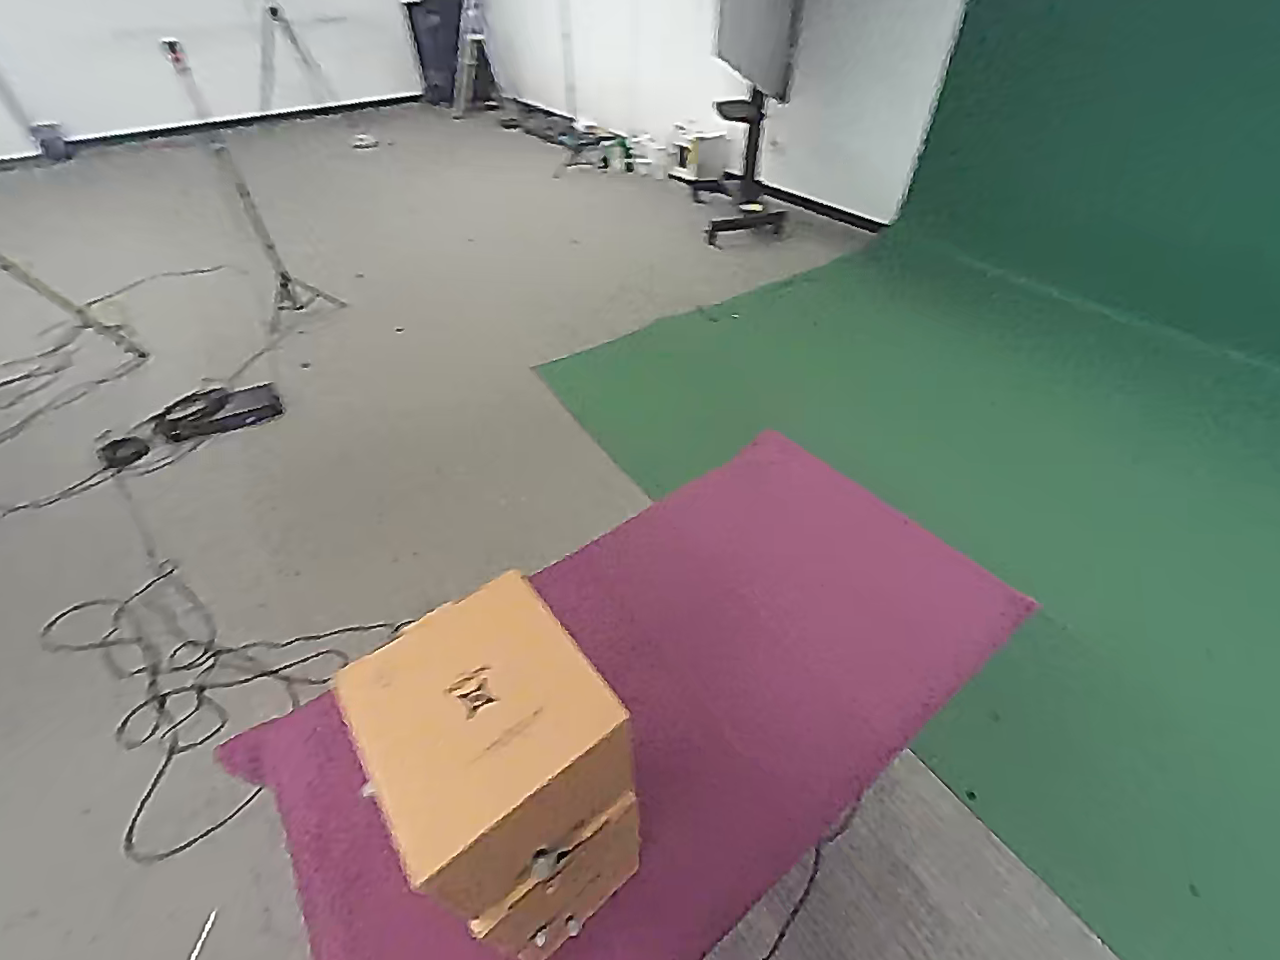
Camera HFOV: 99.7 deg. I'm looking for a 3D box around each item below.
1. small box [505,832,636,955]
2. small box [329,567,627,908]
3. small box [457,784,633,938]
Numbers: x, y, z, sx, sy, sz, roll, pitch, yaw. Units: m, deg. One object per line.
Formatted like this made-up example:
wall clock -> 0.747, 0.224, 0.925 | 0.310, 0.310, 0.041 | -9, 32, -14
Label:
small box -> -0.118, 0.453, 0.688 | 0.168, 0.176, 0.179 | -31, 52, -26
small box -> -0.126, 0.216, 0.462 | 0.168, 0.176, 0.179 | -30, 51, -25
small box -> -0.120, 0.337, 0.572 | 0.168, 0.176, 0.179 | -30, 50, -26
